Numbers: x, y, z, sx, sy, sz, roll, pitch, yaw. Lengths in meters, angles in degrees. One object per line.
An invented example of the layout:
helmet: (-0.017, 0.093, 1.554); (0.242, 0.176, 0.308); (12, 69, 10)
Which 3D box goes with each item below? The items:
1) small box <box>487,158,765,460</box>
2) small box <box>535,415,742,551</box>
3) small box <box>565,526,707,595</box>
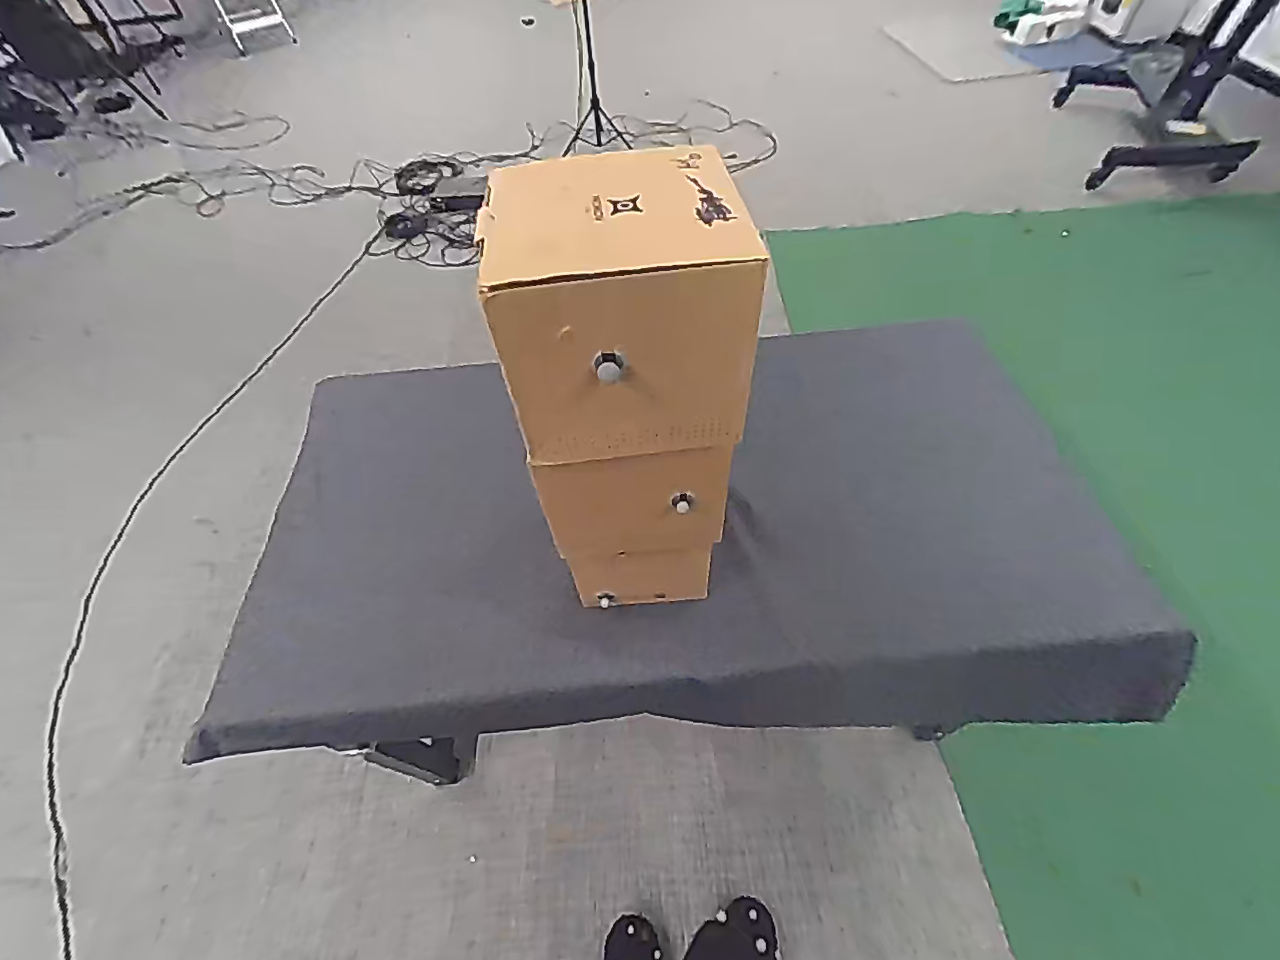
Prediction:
small box: (-0.014, -0.132, 0.440); (0.179, 0.176, 0.168); (-9, 52, -4)
small box: (-0.009, -0.045, 0.556); (0.179, 0.176, 0.168); (-8, 54, -4)
small box: (-0.003, 0.043, 0.712); (0.168, 0.176, 0.179); (-4, 53, 1)
